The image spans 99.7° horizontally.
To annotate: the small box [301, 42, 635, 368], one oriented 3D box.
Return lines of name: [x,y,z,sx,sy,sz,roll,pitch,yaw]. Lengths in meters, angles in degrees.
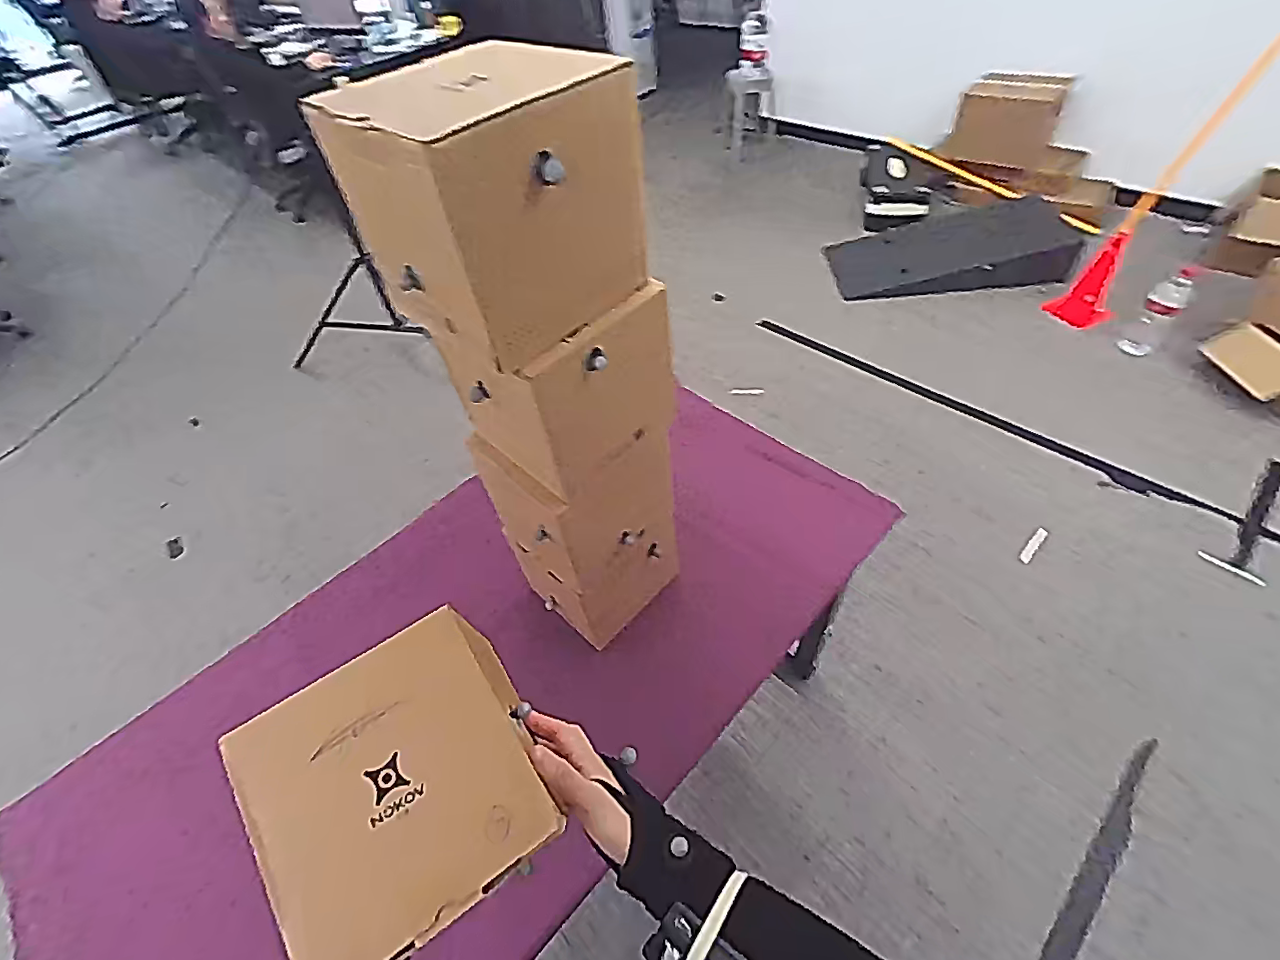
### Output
small box: [-0.118,-0.224,0.441,0.168,0.176,0.179,33,61,29]

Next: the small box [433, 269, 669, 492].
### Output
small box: [-0.088,-0.118,0.562,0.179,0.176,0.168,33,61,30]

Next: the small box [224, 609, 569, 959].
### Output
small box: [-0.168,0.233,0.428,0.168,0.176,0.179,-31,70,-18]

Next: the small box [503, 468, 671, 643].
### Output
small box: [-0.067,0.103,0.802,0.168,0.176,0.179,33,62,31]
